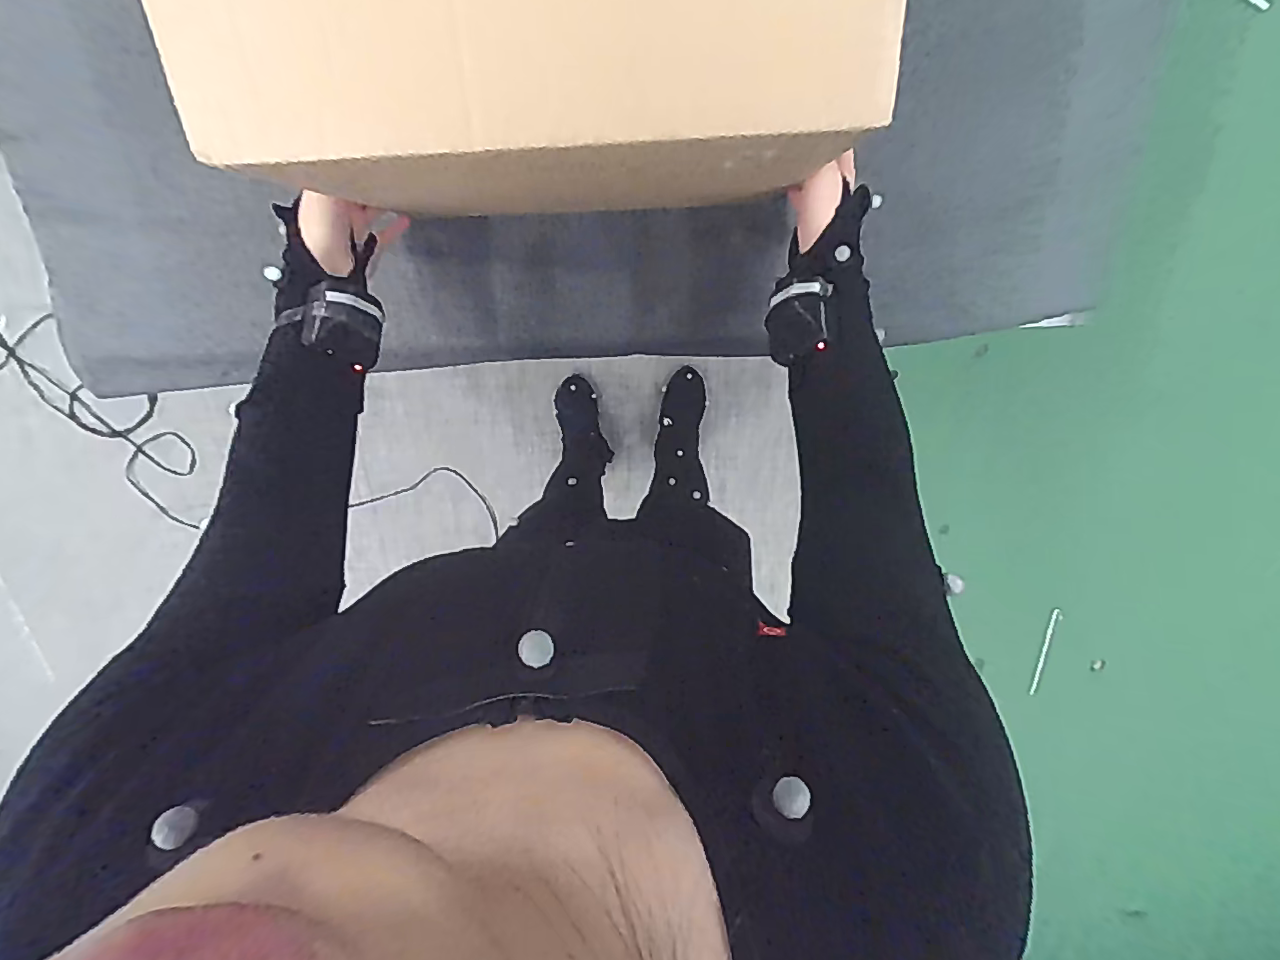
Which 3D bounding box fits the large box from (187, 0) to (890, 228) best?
[{"bbox_3d":[-0.062,-0.392,0.419,0.408,0.320,0.320,-3,111,1],"label":"large box"}]
